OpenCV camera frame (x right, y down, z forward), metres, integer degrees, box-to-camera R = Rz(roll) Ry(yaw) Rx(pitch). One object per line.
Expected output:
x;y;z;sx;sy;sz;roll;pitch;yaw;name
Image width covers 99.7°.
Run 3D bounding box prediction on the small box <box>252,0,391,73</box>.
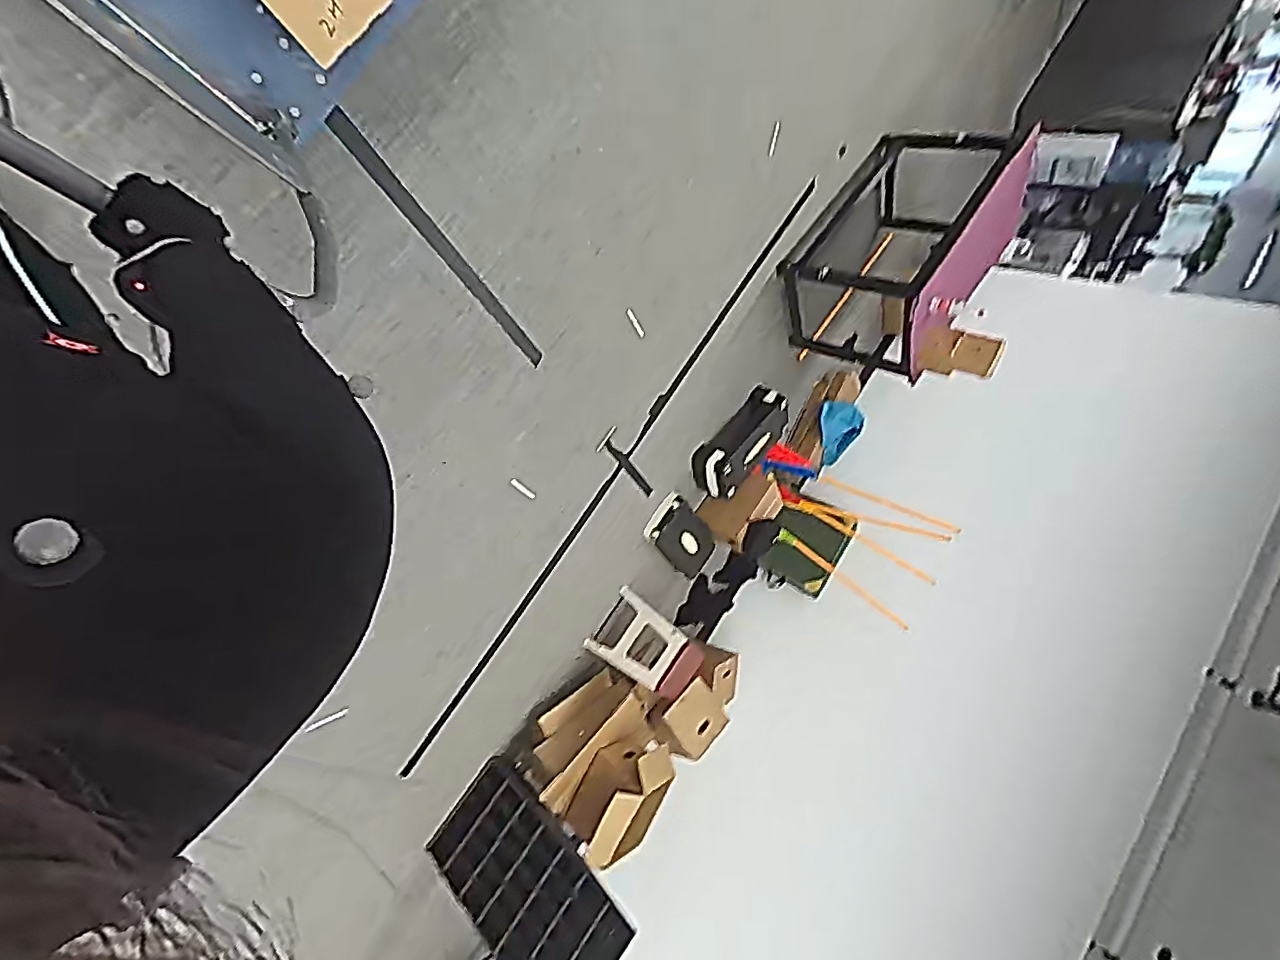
-0.547;-0.812;0.871;0.168;0.176;0.179;-42;146;3;small box
